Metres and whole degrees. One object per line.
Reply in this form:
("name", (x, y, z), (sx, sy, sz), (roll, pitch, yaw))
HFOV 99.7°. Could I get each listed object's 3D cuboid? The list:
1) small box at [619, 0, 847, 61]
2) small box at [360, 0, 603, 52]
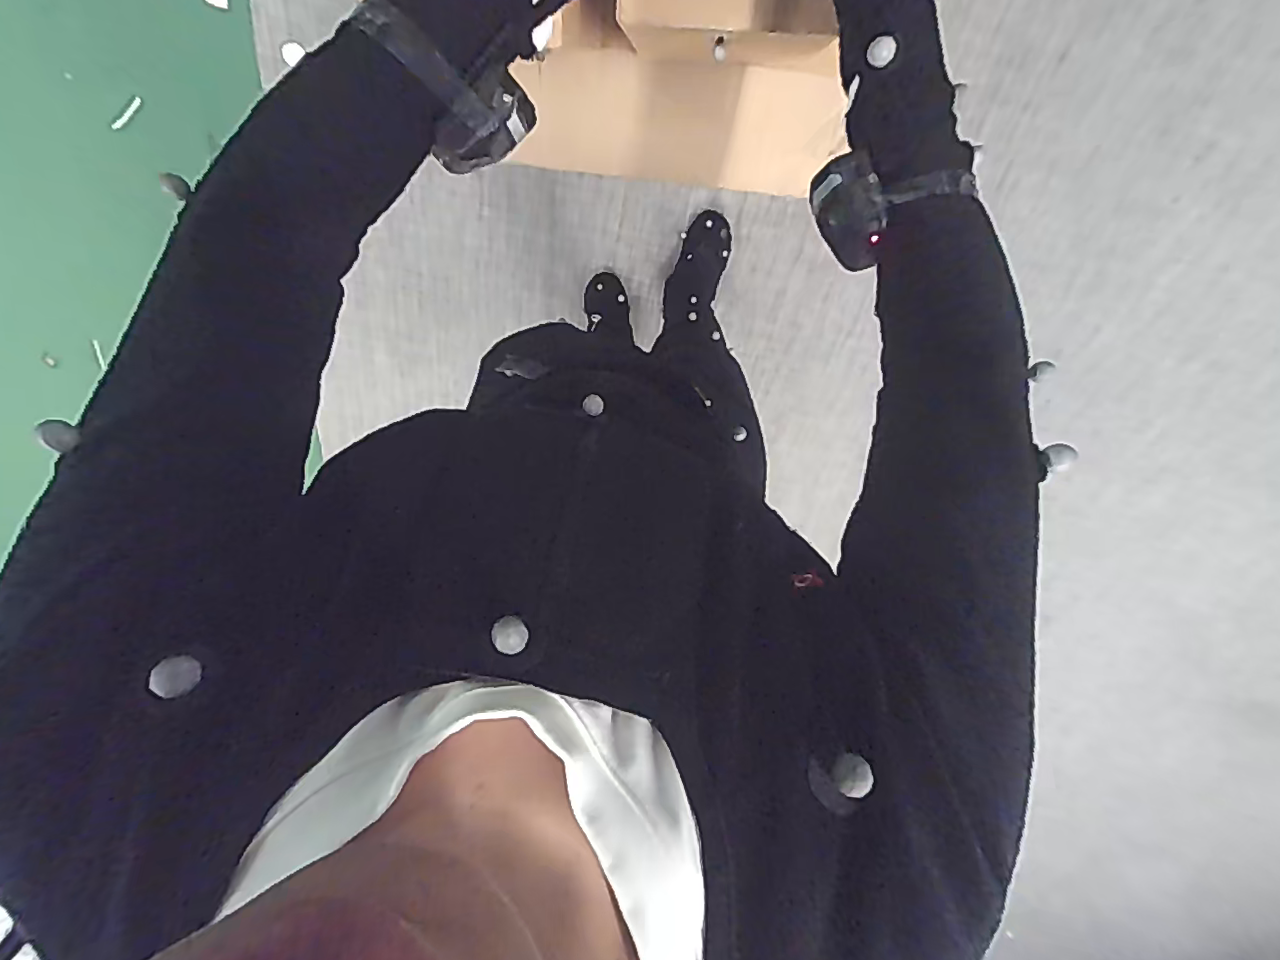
("small box", (0.082, -0.462, 0.447), (0.179, 0.176, 0.168), (5, 122, 3))
("small box", (-0.131, -0.481, 0.466), (0.179, 0.176, 0.168), (7, 129, 3))
